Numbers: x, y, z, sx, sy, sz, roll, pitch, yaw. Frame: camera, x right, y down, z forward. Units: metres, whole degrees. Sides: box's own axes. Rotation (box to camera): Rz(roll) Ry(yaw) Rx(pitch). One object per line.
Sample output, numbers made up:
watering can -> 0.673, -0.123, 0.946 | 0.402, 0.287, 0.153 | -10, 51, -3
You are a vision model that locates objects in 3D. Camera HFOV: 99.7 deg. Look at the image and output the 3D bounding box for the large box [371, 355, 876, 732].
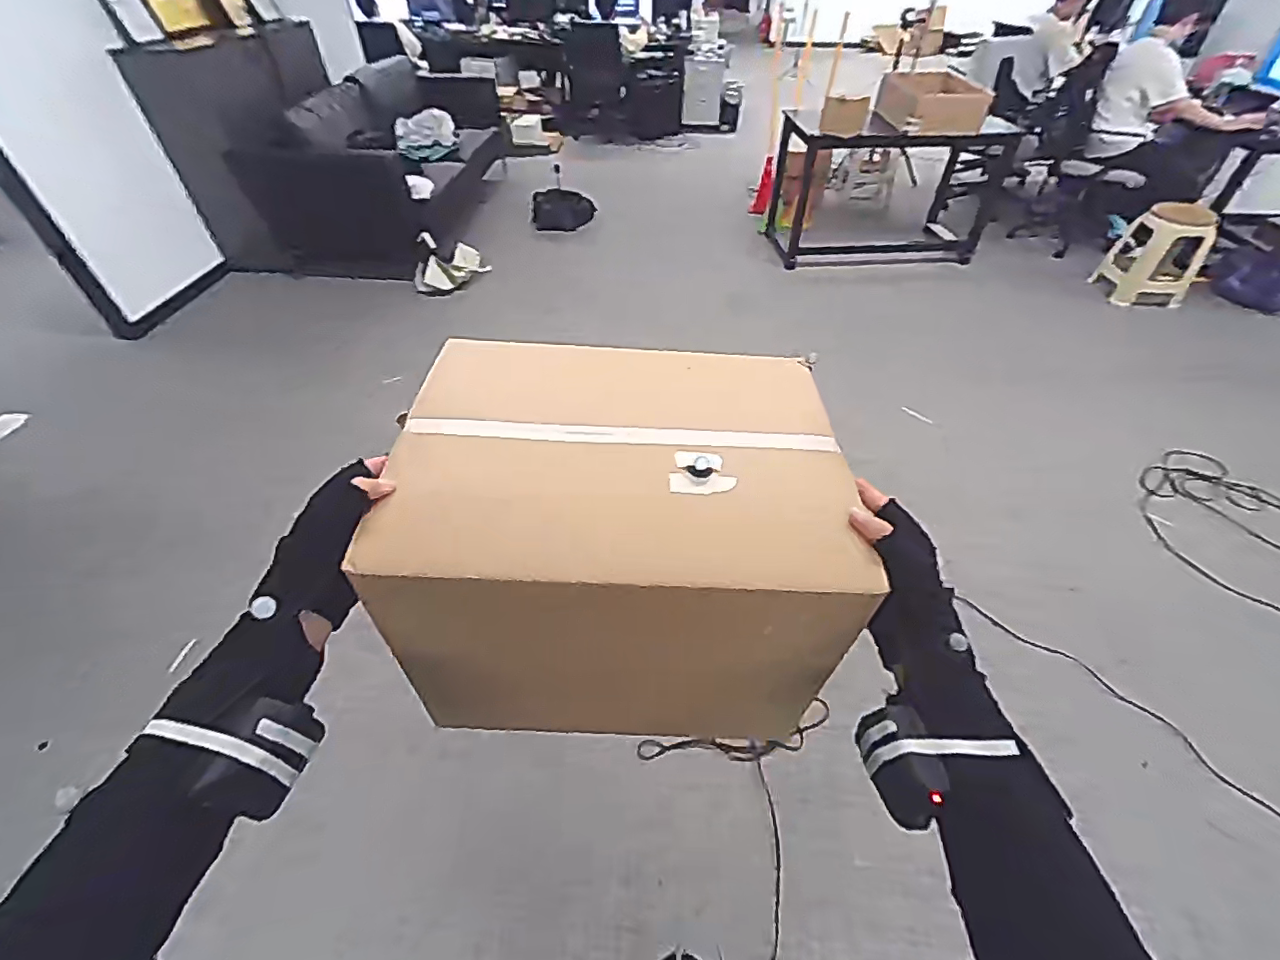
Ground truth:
large box -> -0.021, 0.078, 0.626 | 0.408, 0.320, 0.320 | 3, 46, -3
